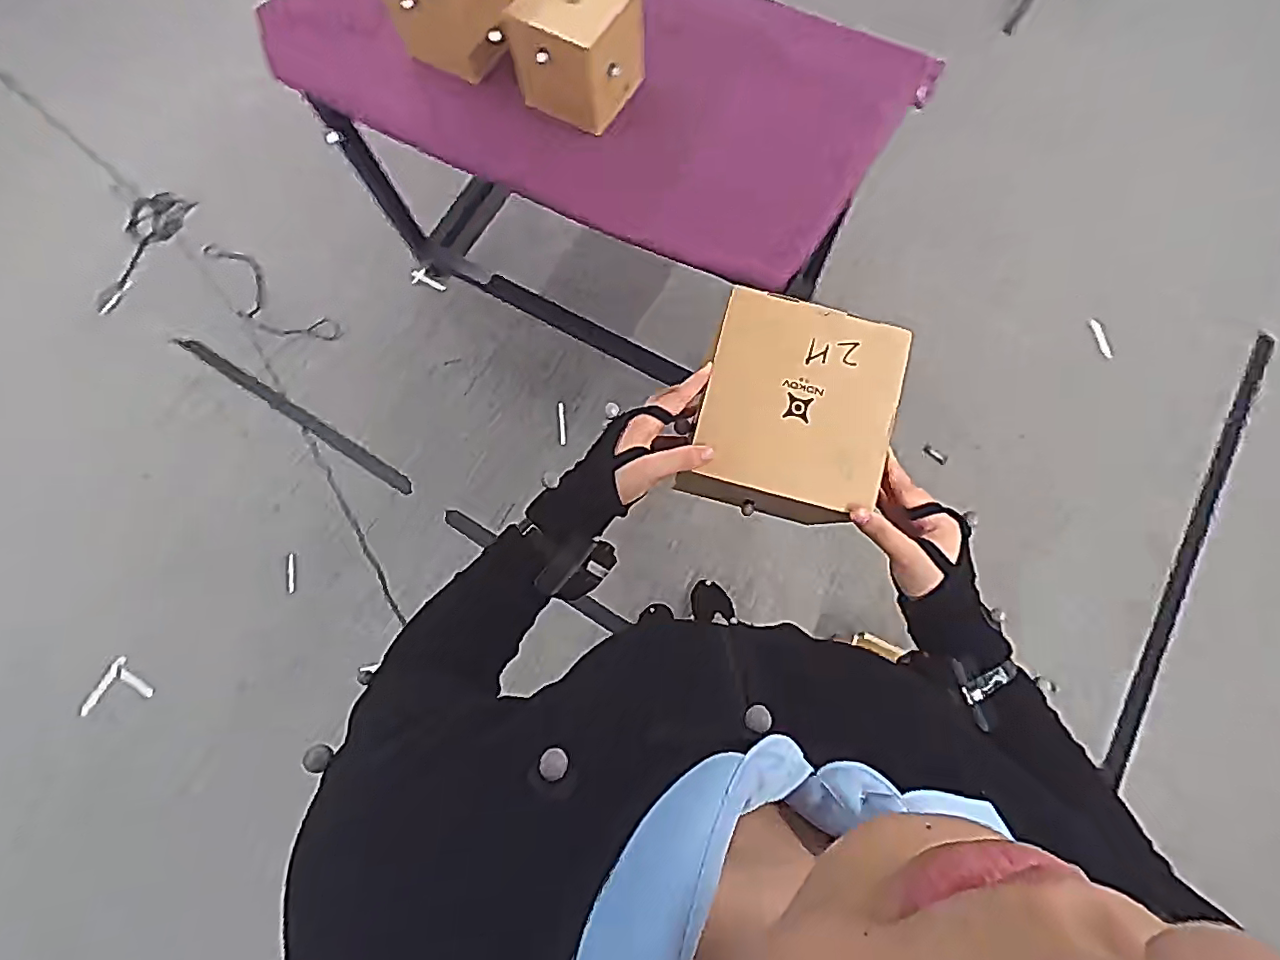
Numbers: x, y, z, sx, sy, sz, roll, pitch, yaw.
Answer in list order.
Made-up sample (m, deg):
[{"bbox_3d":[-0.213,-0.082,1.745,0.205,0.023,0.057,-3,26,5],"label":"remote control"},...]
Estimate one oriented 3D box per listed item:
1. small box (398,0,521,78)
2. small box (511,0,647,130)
[{"bbox_3d":[-0.347,-0.919,1.029,0.179,0.176,0.168,30,79,9],"label":"small box"},{"bbox_3d":[-0.099,-0.785,0.984,0.179,0.176,0.168,31,79,11],"label":"small box"}]
